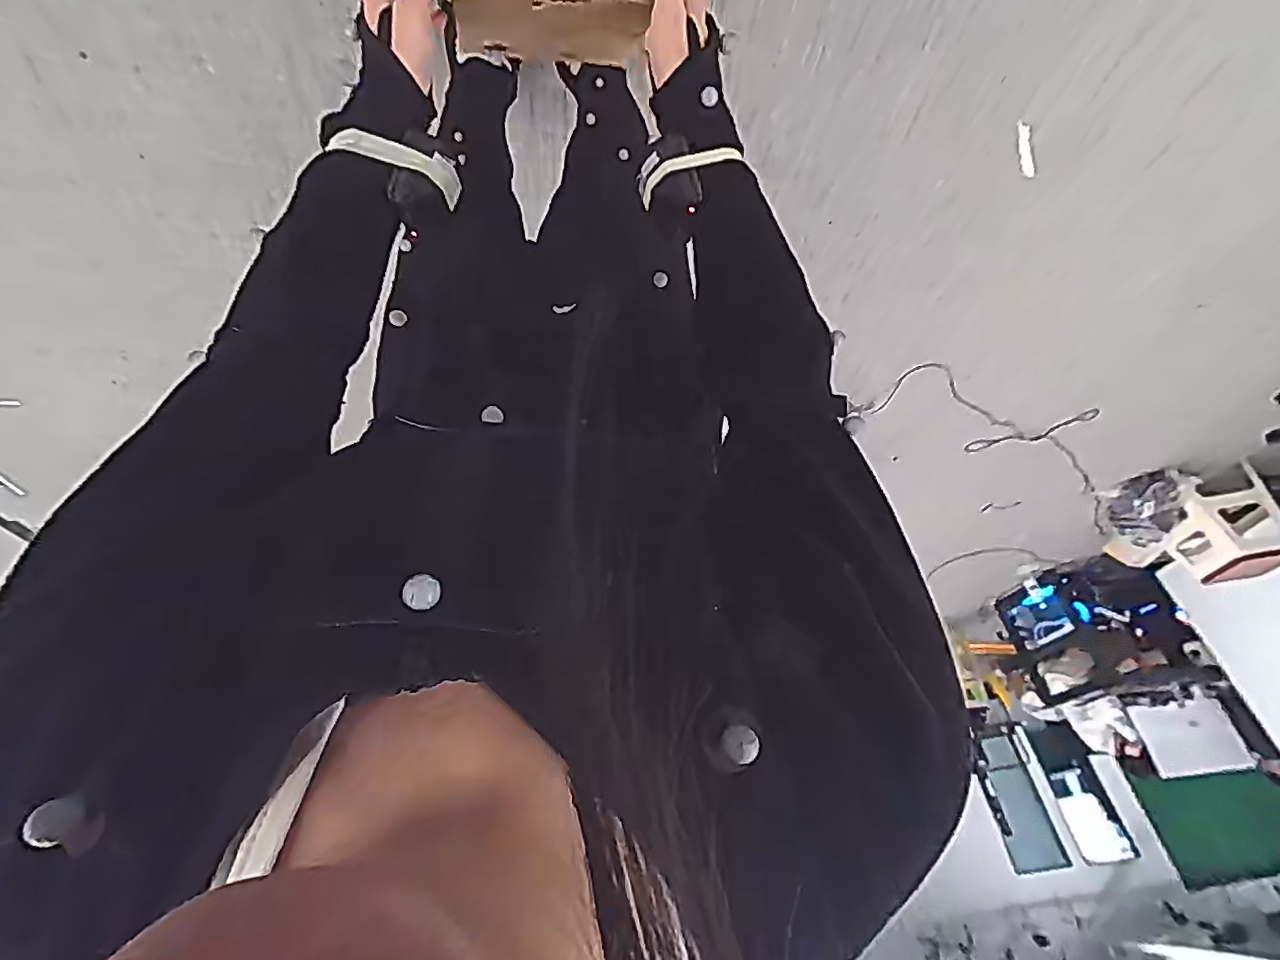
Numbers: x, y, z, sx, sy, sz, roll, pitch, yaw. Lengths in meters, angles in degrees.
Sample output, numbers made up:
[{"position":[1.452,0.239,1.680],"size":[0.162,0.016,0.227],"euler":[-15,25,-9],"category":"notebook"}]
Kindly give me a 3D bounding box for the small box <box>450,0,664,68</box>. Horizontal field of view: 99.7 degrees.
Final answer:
[{"position":[-0.076,-0.467,0.438],"size":[0.168,0.176,0.179],"euler":[-5,111,-14],"category":"small box"}]
